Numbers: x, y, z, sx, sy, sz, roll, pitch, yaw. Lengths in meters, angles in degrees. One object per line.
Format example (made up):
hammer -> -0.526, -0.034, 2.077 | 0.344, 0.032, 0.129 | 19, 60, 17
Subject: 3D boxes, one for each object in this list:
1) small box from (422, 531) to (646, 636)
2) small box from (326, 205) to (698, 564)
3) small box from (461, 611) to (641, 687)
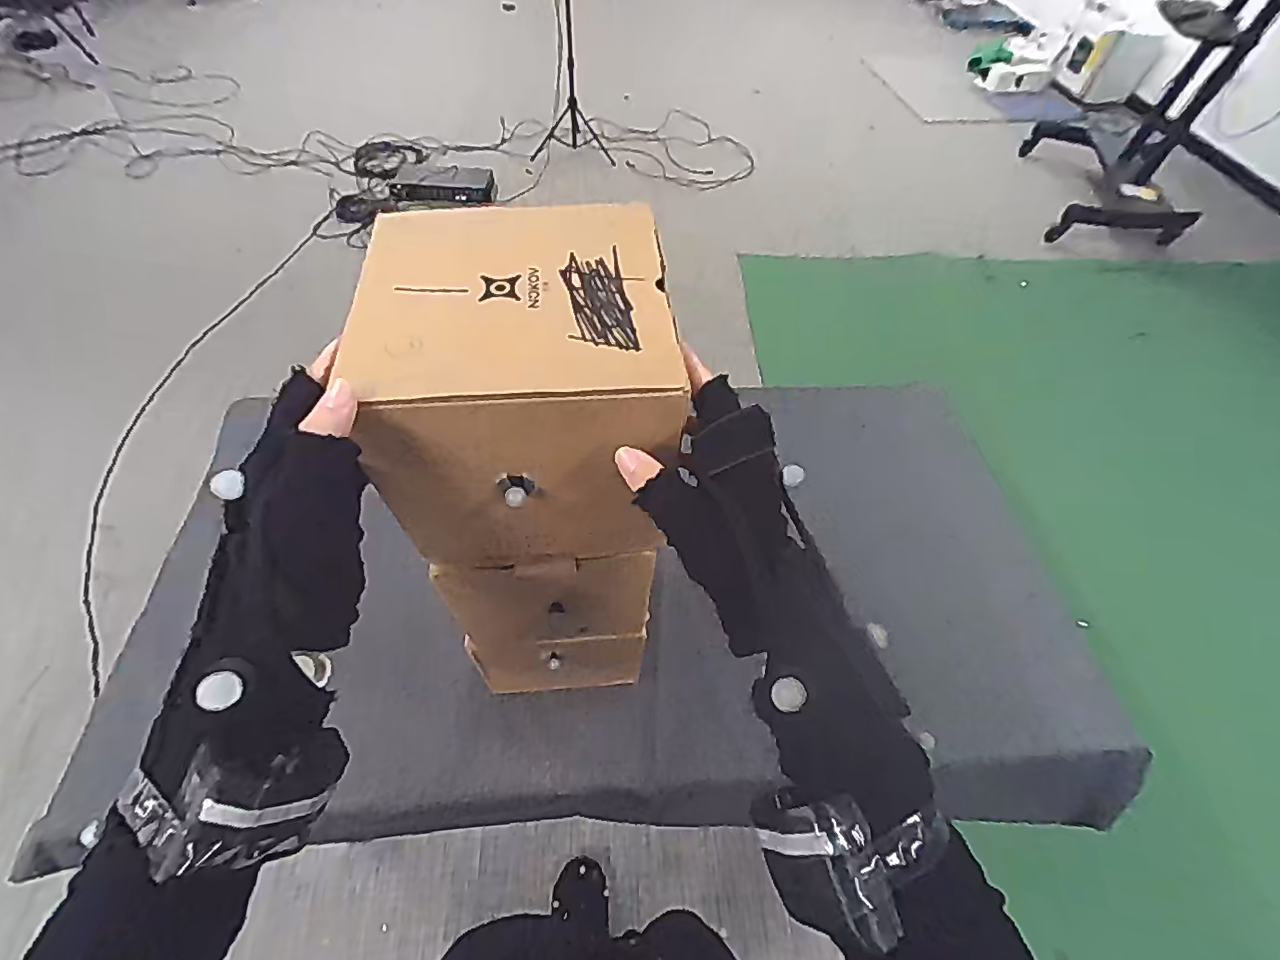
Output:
small box -> -0.086, 0.036, 0.499 | 0.168, 0.176, 0.179 | -4, 57, -6
small box -> -0.073, -0.057, 0.363 | 0.179, 0.176, 0.168 | -5, 57, -8
small box -> -0.095, 0.134, 0.630 | 0.179, 0.176, 0.168 | -2, 56, -6
